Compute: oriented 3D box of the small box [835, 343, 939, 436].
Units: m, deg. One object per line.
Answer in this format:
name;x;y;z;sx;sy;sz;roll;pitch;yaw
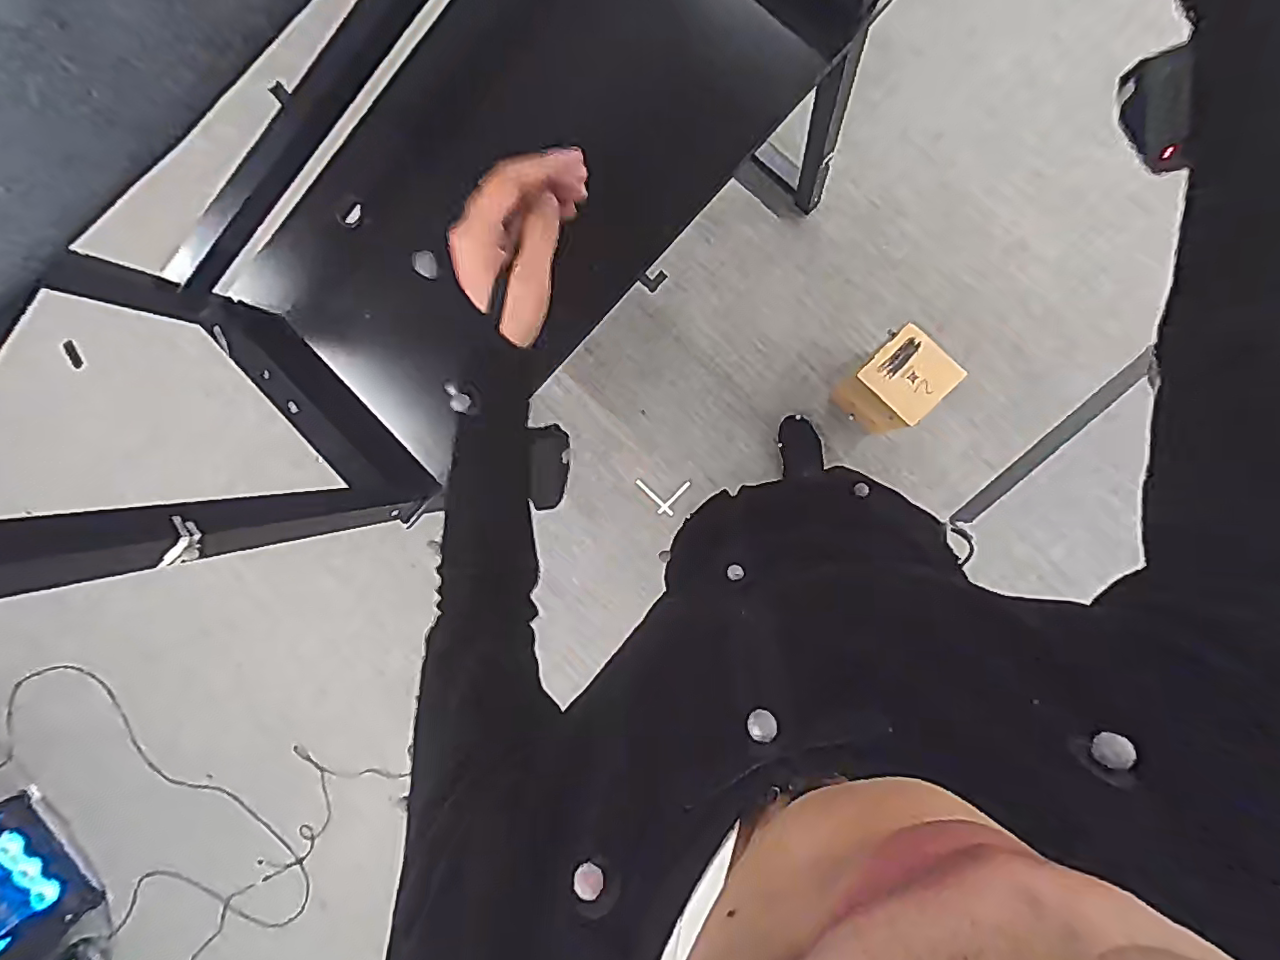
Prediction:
small box;0.652;-0.236;1.455;0.168;0.176;0.179;44;100;7
